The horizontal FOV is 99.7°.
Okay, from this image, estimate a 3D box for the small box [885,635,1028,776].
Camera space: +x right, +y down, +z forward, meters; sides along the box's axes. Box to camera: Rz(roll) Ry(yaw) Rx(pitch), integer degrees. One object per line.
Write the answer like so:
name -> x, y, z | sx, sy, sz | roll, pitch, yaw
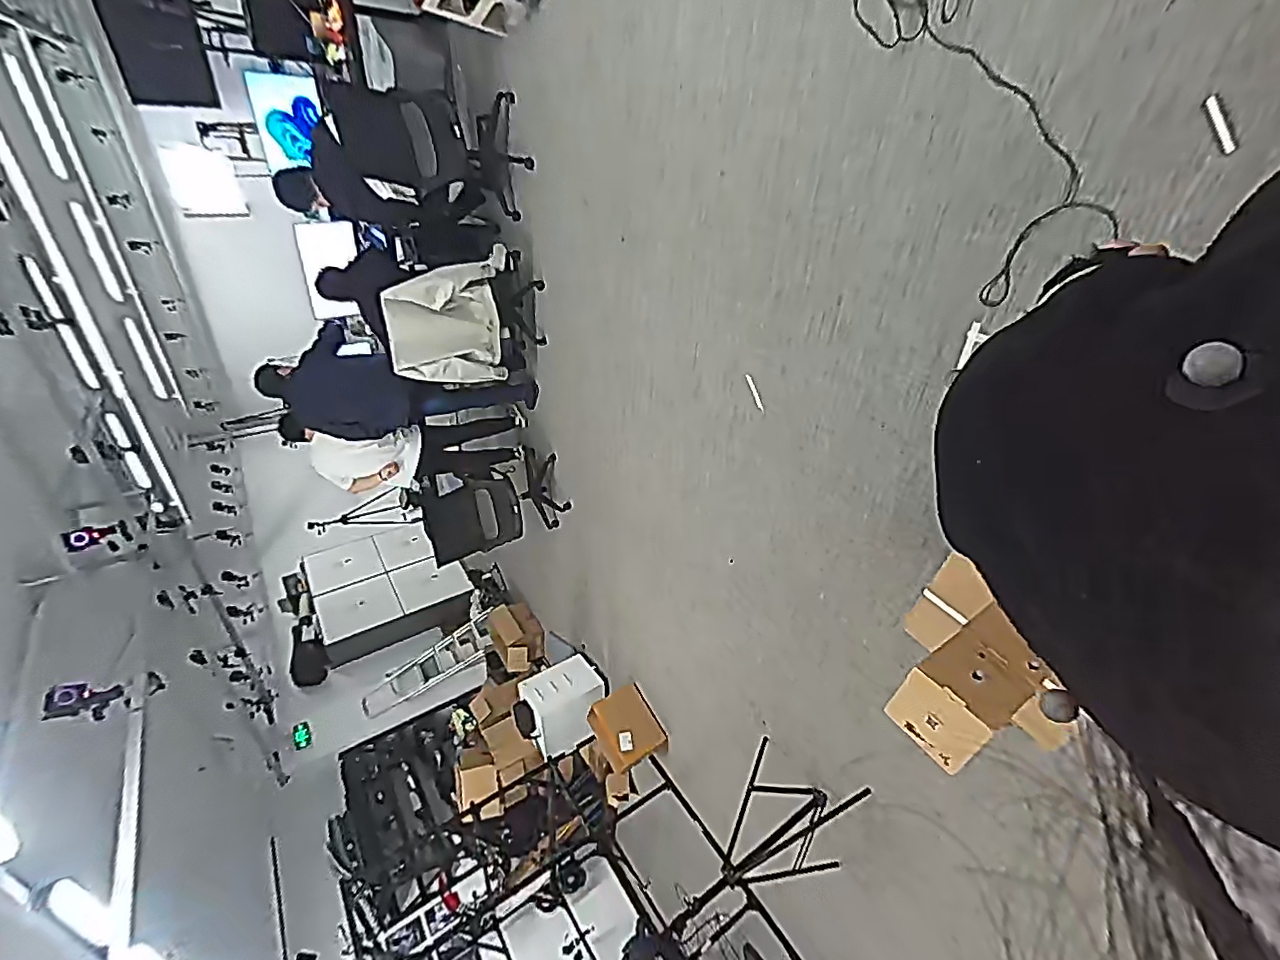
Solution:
small box -> 0.648, 0.453, 1.107 | 0.168, 0.176, 0.179 | 44, 139, 38
